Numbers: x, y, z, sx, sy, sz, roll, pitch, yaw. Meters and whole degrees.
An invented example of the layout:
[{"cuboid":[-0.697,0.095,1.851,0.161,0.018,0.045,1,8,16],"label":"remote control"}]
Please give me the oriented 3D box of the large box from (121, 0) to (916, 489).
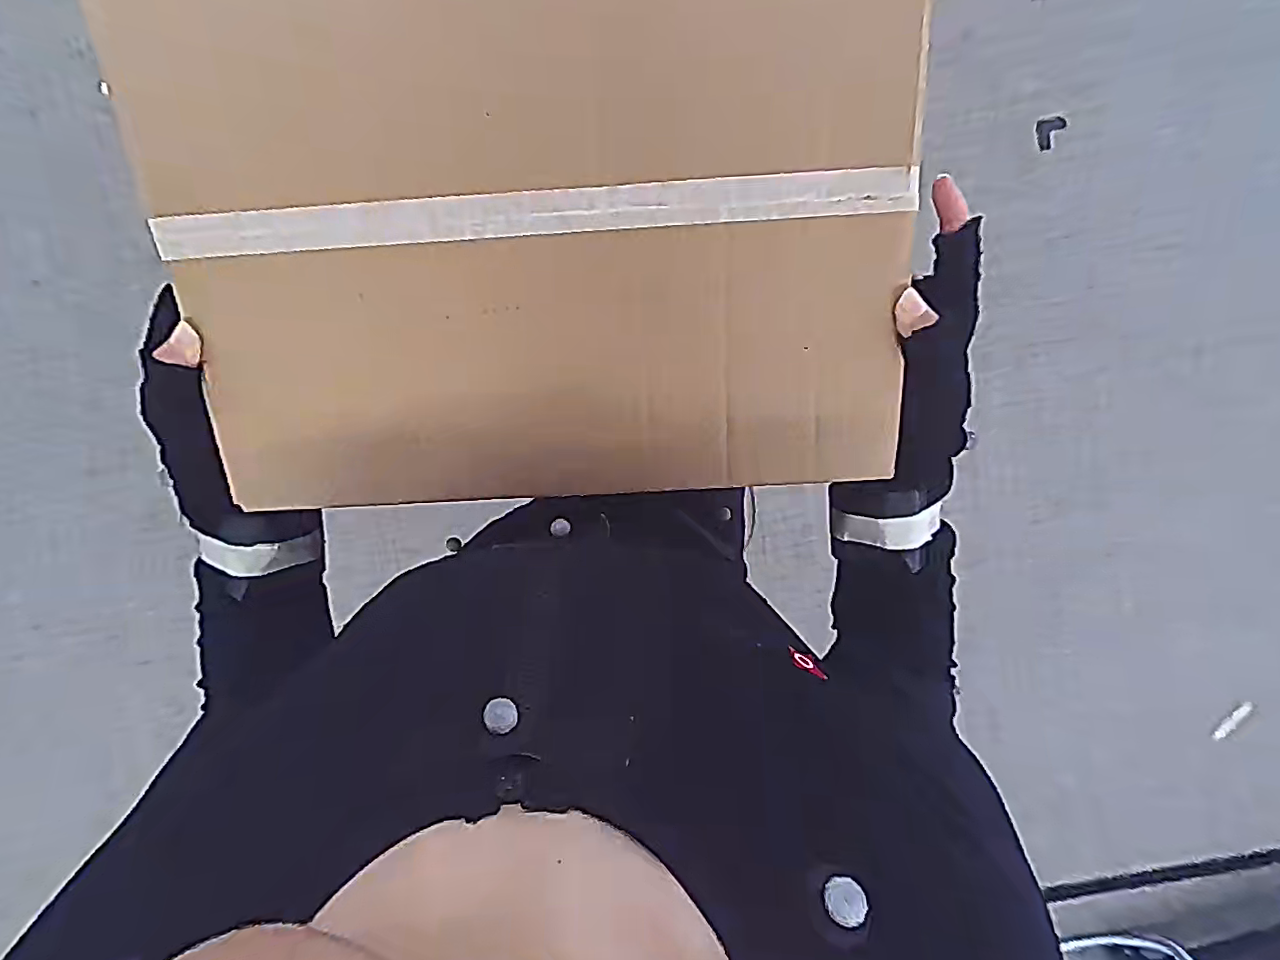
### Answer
[{"cuboid":[-0.057,-0.196,0.438,0.408,0.320,0.320,-3,108,1],"label":"large box"}]
